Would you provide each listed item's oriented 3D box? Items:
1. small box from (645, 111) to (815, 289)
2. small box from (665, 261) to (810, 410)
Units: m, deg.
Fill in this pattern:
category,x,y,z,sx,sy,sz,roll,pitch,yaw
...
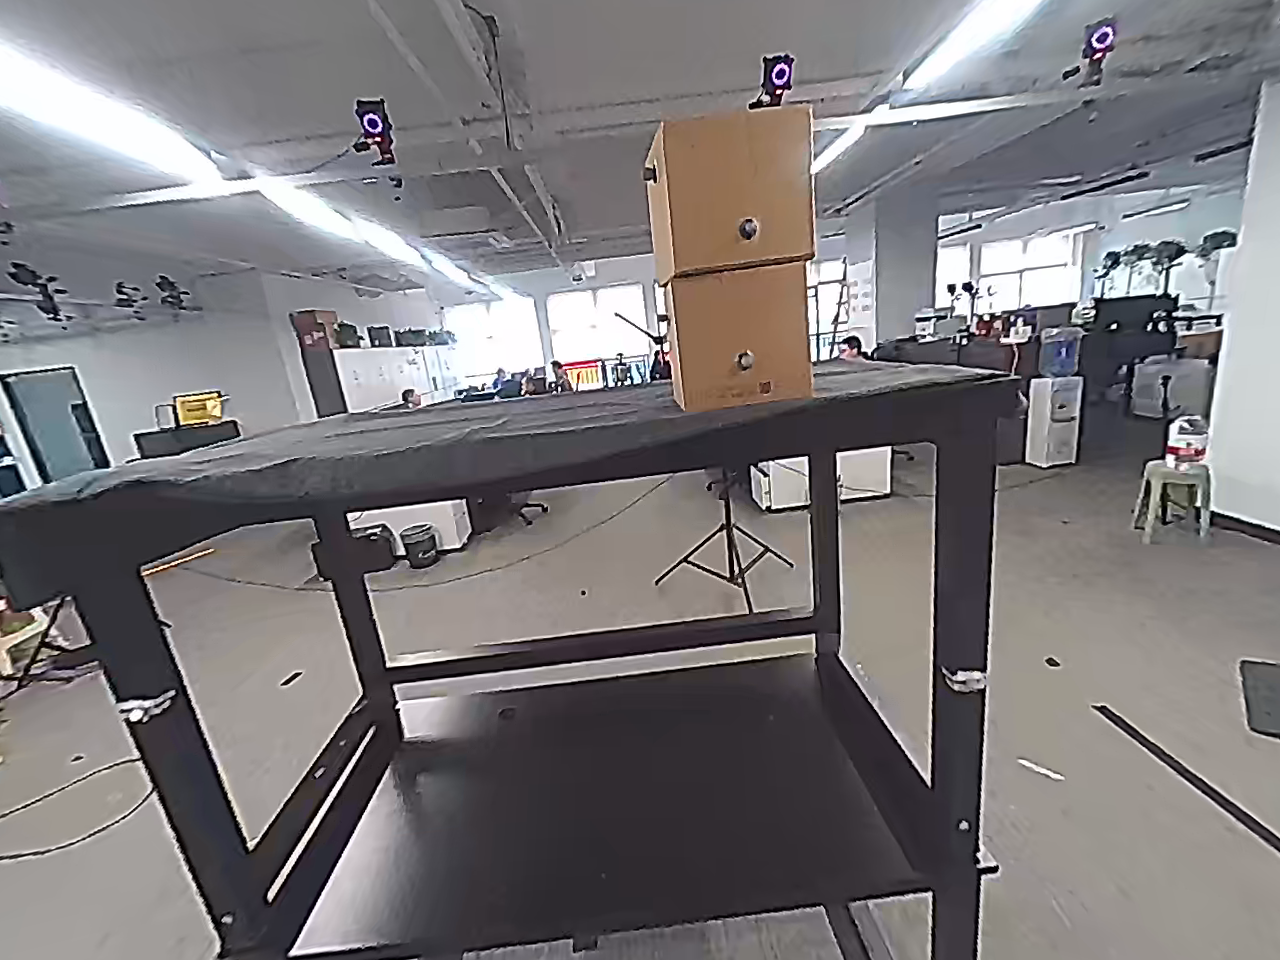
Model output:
category,x,y,z,sx,sy,sz,roll,pitch,yaw
small box,0.109,-0.352,0.699,0.179,0.176,0.168,-7,14,-4
small box,0.128,-0.194,0.751,0.168,0.176,0.179,-8,14,1
